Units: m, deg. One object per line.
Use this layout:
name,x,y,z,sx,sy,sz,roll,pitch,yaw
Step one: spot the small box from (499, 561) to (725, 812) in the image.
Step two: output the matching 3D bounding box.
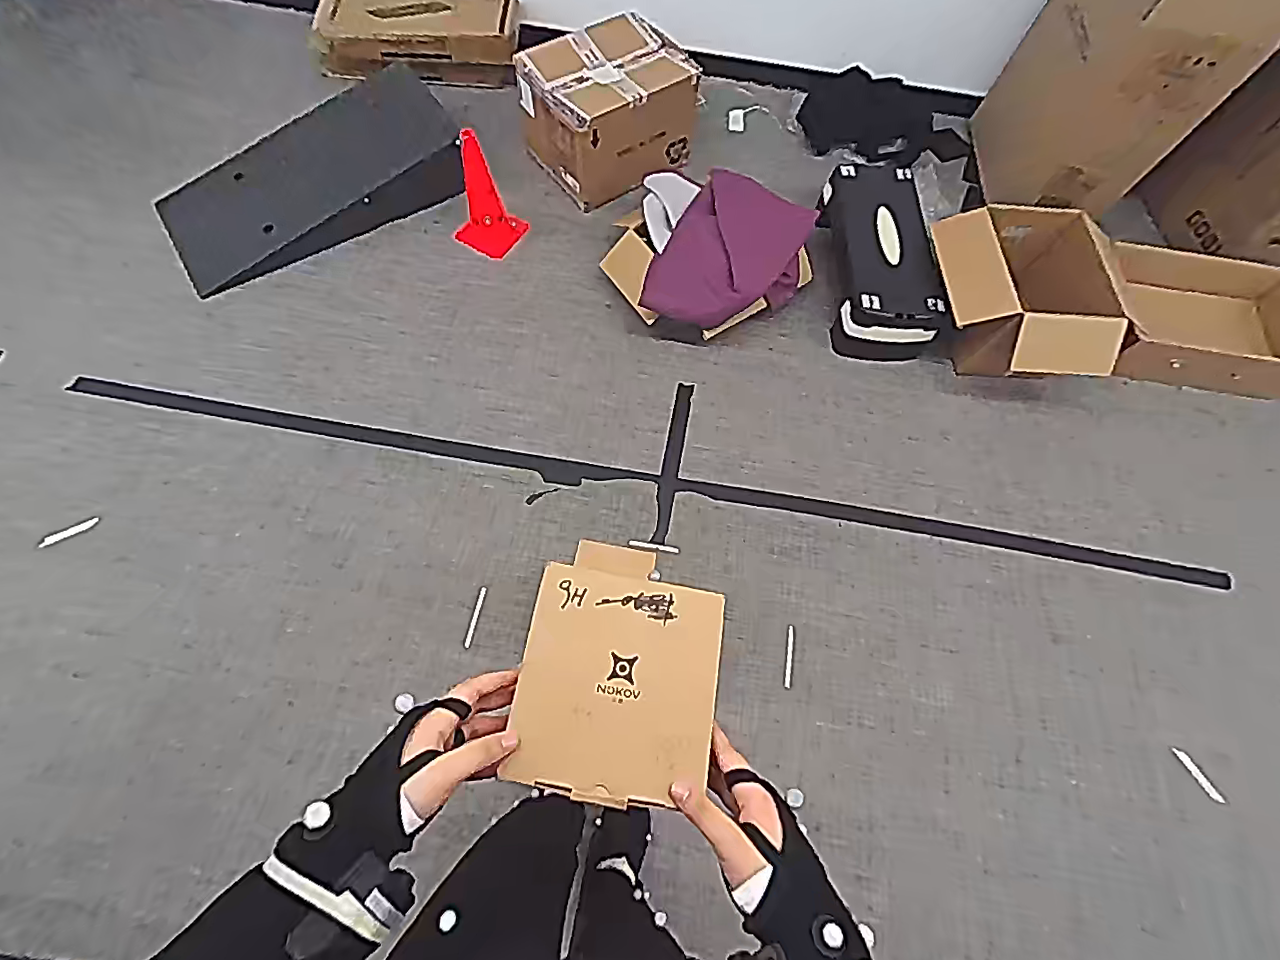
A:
small box,-0.024,0.195,0.526,0.168,0.176,0.179,11,67,-2

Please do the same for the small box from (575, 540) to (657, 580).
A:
small box,-0.063,0.249,1.160,0.168,0.176,0.179,10,66,3
